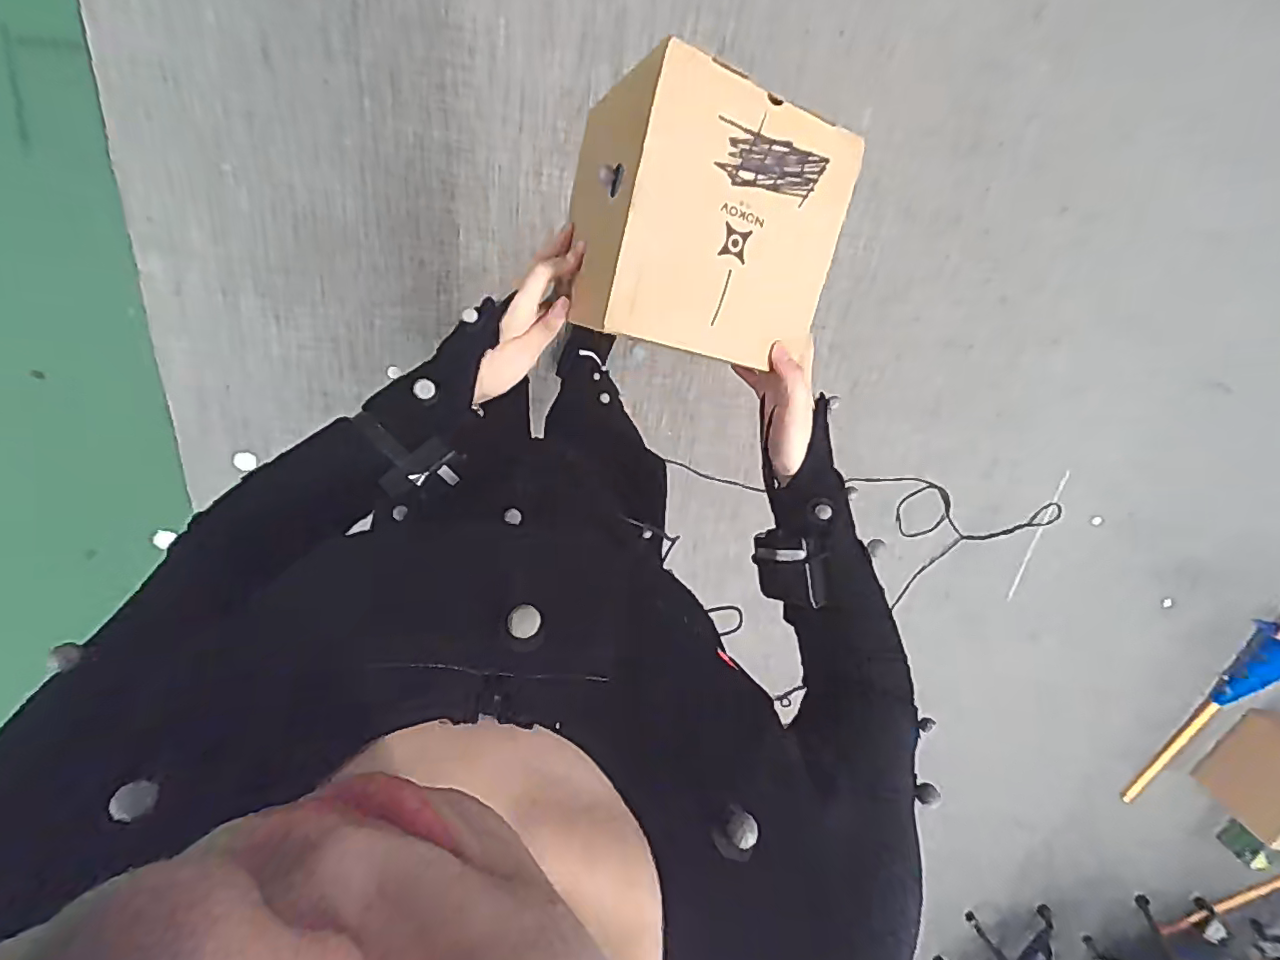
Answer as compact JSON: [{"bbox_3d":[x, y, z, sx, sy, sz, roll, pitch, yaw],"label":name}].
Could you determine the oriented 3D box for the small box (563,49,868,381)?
[{"bbox_3d":[0.045,-0.196,0.451,0.168,0.176,0.179,8,105,-25],"label":"small box"}]
